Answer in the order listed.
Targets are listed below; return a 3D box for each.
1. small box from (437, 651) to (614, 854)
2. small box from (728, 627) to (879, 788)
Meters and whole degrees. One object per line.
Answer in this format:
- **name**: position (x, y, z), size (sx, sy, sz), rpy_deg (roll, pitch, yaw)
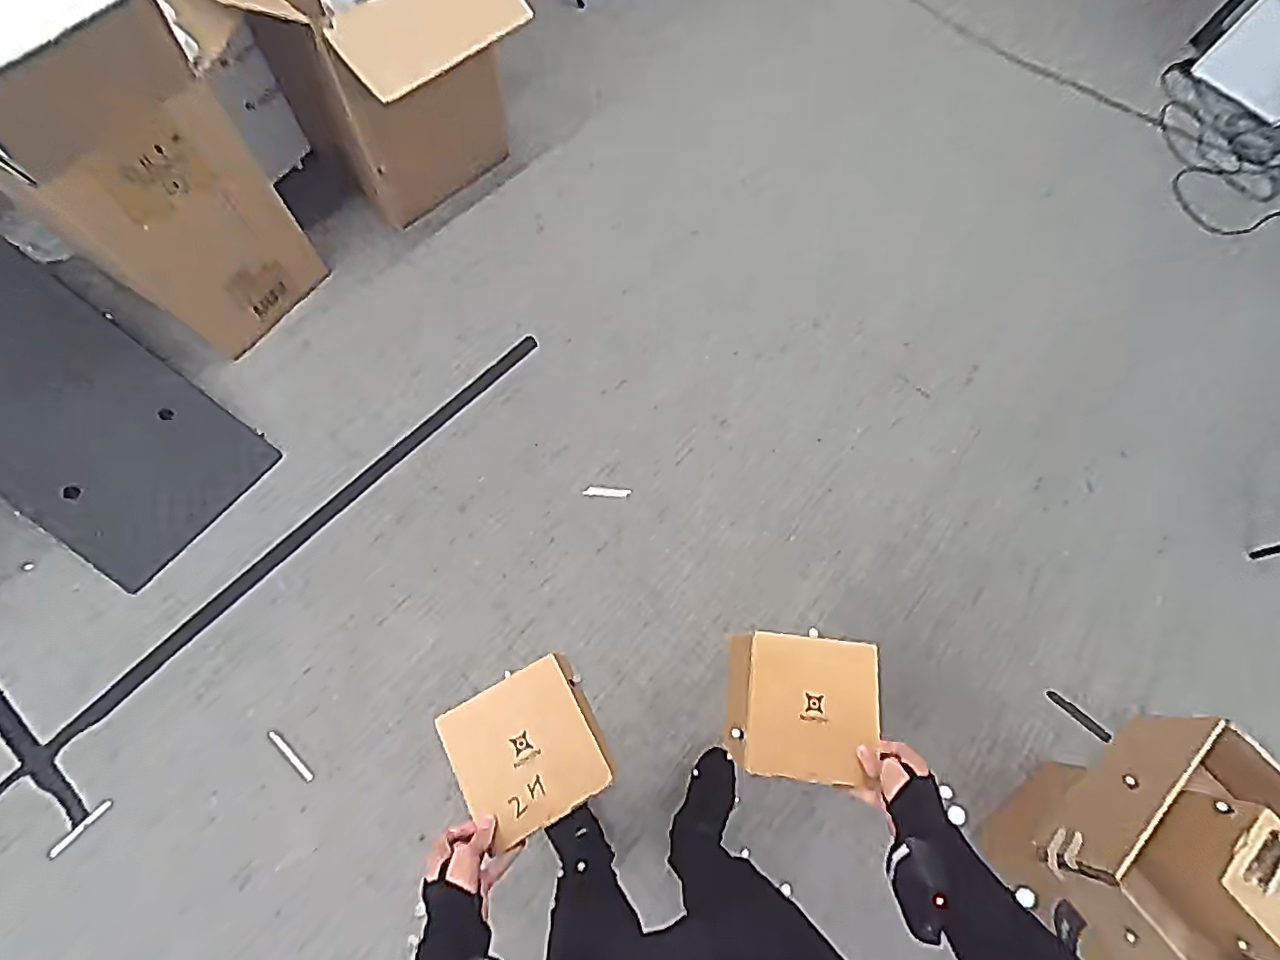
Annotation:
- **small box**: position (-0.146, 0.354, 0.736), size (0.168, 0.176, 0.179), rpy_deg (-27, 74, -11)
- **small box**: position (0.222, 0.310, 0.766), size (0.168, 0.176, 0.179), rpy_deg (6, 73, 2)
